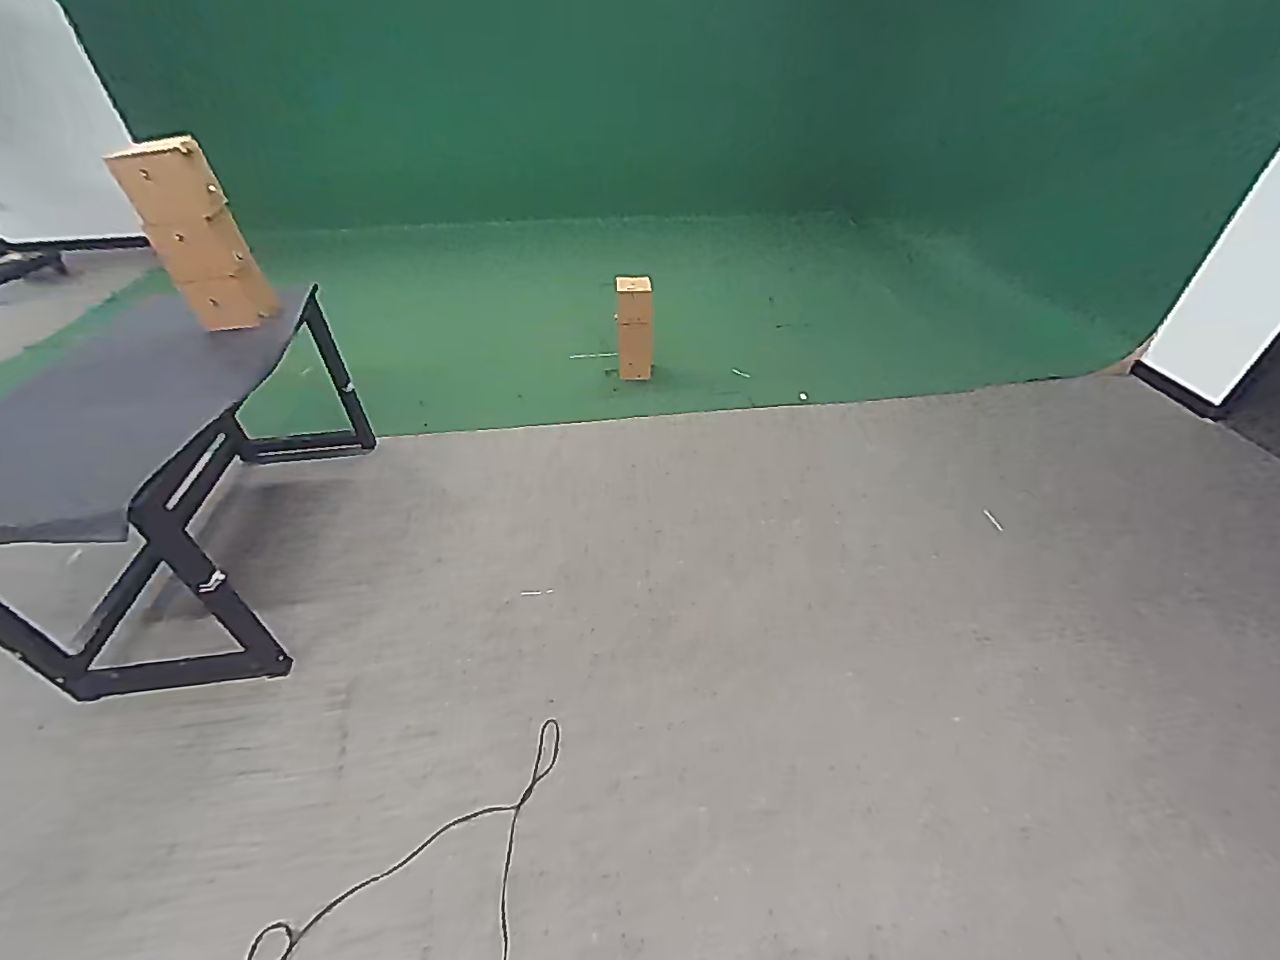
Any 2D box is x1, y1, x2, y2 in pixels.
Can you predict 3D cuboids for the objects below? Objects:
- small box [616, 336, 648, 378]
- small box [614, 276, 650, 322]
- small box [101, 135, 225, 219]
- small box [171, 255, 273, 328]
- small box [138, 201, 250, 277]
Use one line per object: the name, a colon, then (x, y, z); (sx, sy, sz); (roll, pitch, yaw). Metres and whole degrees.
small box: (-0.039, -0.660, 2.911); (0.168, 0.176, 0.179); (0, 41, 0)
small box: (-0.043, -0.899, 2.685); (0.168, 0.176, 0.179); (-2, 41, -4)
small box: (-1.332, -0.852, 1.524); (0.179, 0.176, 0.168); (-11, 45, -9)
small box: (-1.334, -0.608, 1.744); (0.179, 0.176, 0.168); (-7, 43, -4)
small box: (-1.335, -0.727, 1.634); (0.179, 0.176, 0.168); (-9, 44, -8)
